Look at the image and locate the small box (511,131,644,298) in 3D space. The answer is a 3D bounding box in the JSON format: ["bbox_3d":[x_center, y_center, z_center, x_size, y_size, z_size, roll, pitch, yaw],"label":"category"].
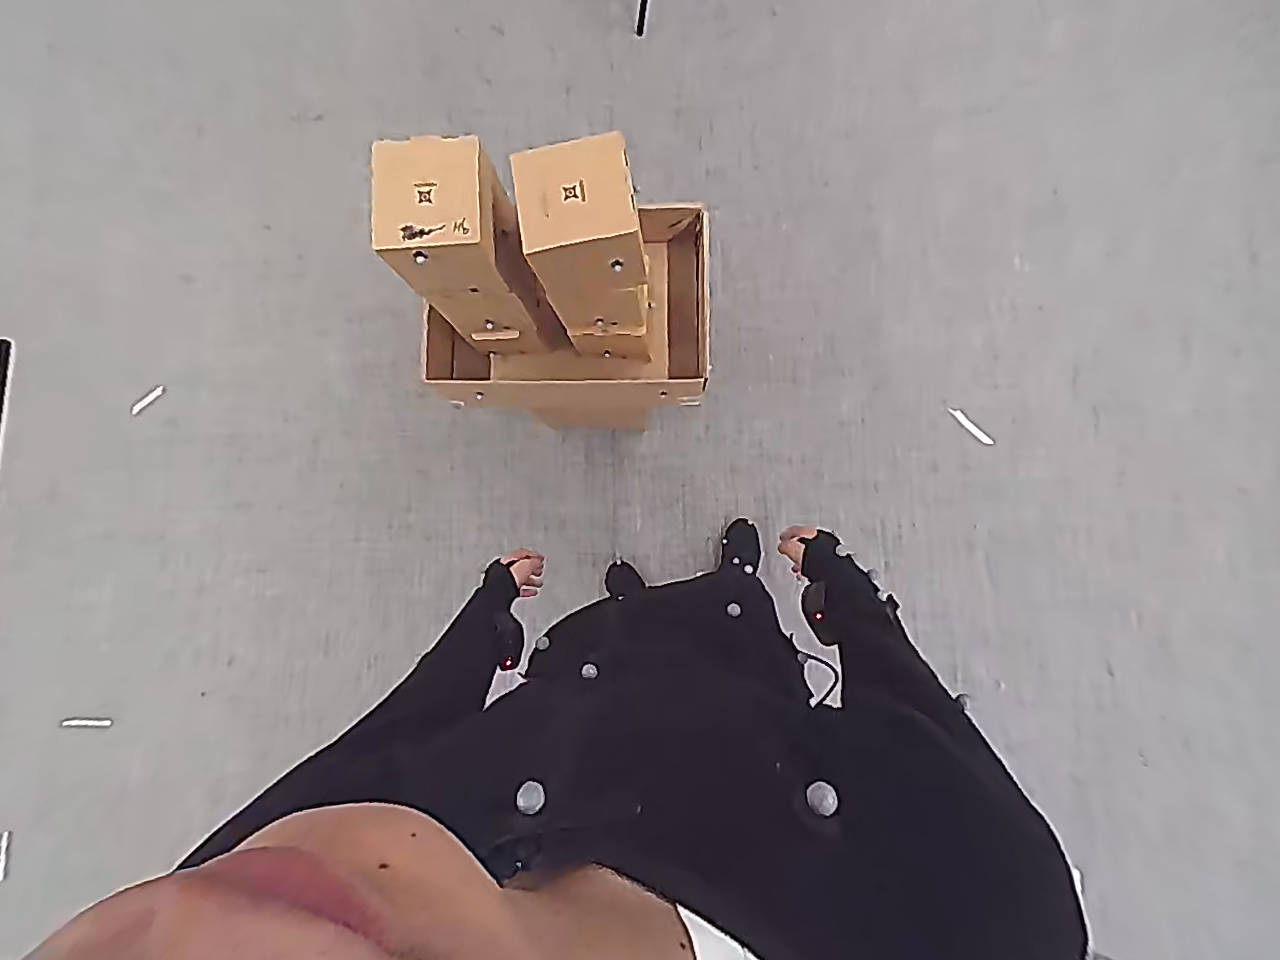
[{"bbox_3d":[-0.091,-0.417,0.876,0.179,0.176,0.168,-9,83,6],"label":"small box"}]

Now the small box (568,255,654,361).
[{"bbox_3d":[-0.057,-0.377,1.199,0.168,0.176,0.179,2,85,6],"label":"small box"}]

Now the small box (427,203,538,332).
[{"bbox_3d":[-0.299,-0.404,1.049,0.168,0.176,0.179,-2,85,3],"label":"small box"}]

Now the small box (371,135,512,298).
[{"bbox_3d":[-0.314,-0.421,0.884,0.168,0.176,0.179,-2,83,4],"label":"small box"}]
